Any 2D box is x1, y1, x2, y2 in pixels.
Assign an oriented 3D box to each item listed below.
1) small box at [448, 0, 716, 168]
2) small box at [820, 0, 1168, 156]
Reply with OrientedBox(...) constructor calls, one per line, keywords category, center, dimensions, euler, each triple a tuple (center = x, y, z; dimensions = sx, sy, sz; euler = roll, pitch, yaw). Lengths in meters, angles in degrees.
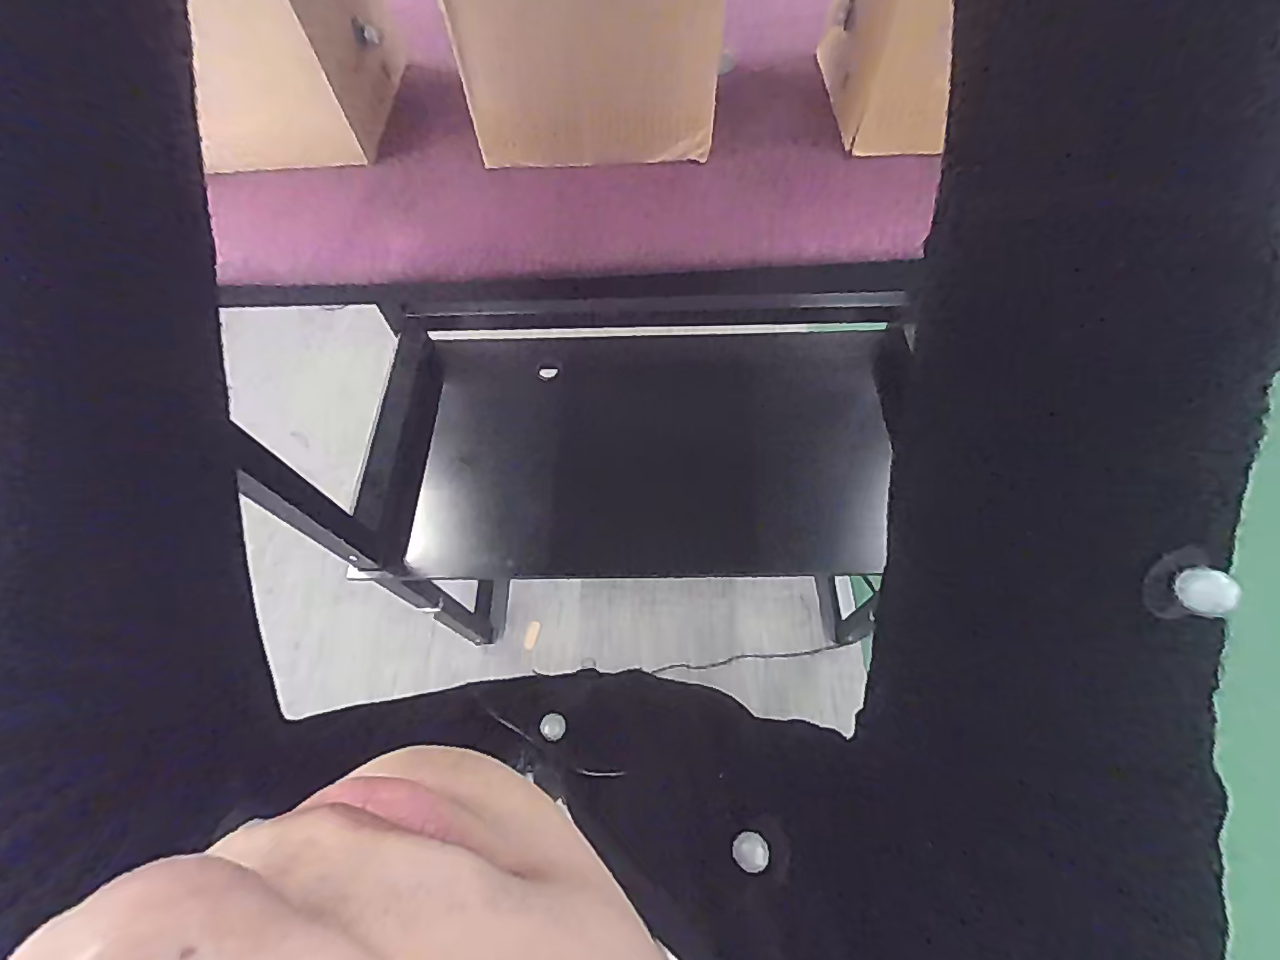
OrientedBox(category="small box", center=(-0.036, -0.350, 0.387), dimensions=(0.179, 0.176, 0.168), euler=(0, 62, 2))
OrientedBox(category="small box", center=(0.243, -0.357, 0.378), dimensions=(0.179, 0.176, 0.168), euler=(-1, 61, 4))
